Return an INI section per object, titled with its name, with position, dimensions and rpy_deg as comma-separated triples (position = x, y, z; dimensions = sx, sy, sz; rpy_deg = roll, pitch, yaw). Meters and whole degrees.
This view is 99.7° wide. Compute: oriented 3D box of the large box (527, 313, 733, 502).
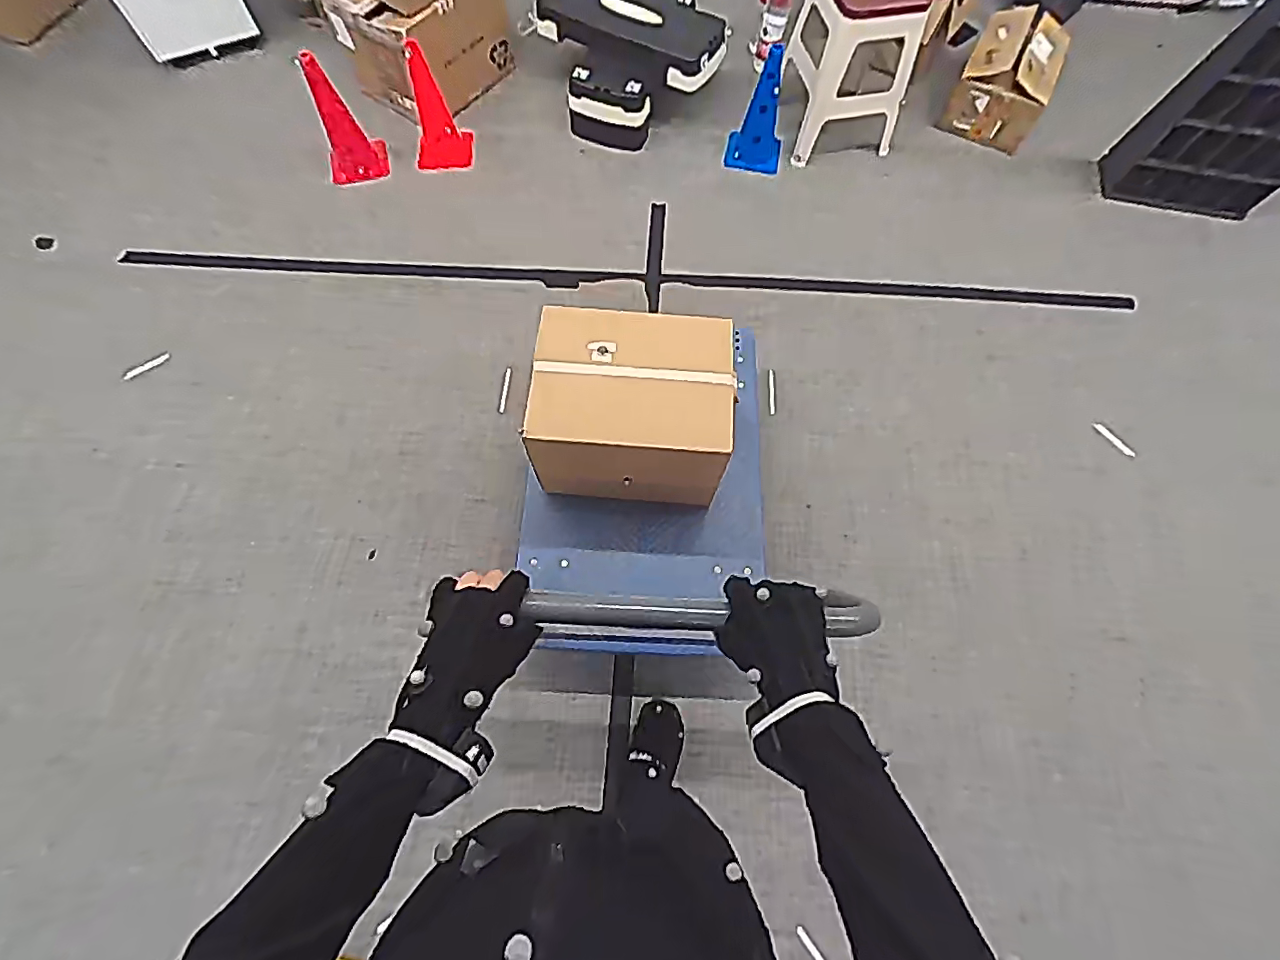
[large box]
position = -0.012, -0.149, 1.227
dimensions = 0.408, 0.320, 0.320
rpy_deg = 4, 68, 1
